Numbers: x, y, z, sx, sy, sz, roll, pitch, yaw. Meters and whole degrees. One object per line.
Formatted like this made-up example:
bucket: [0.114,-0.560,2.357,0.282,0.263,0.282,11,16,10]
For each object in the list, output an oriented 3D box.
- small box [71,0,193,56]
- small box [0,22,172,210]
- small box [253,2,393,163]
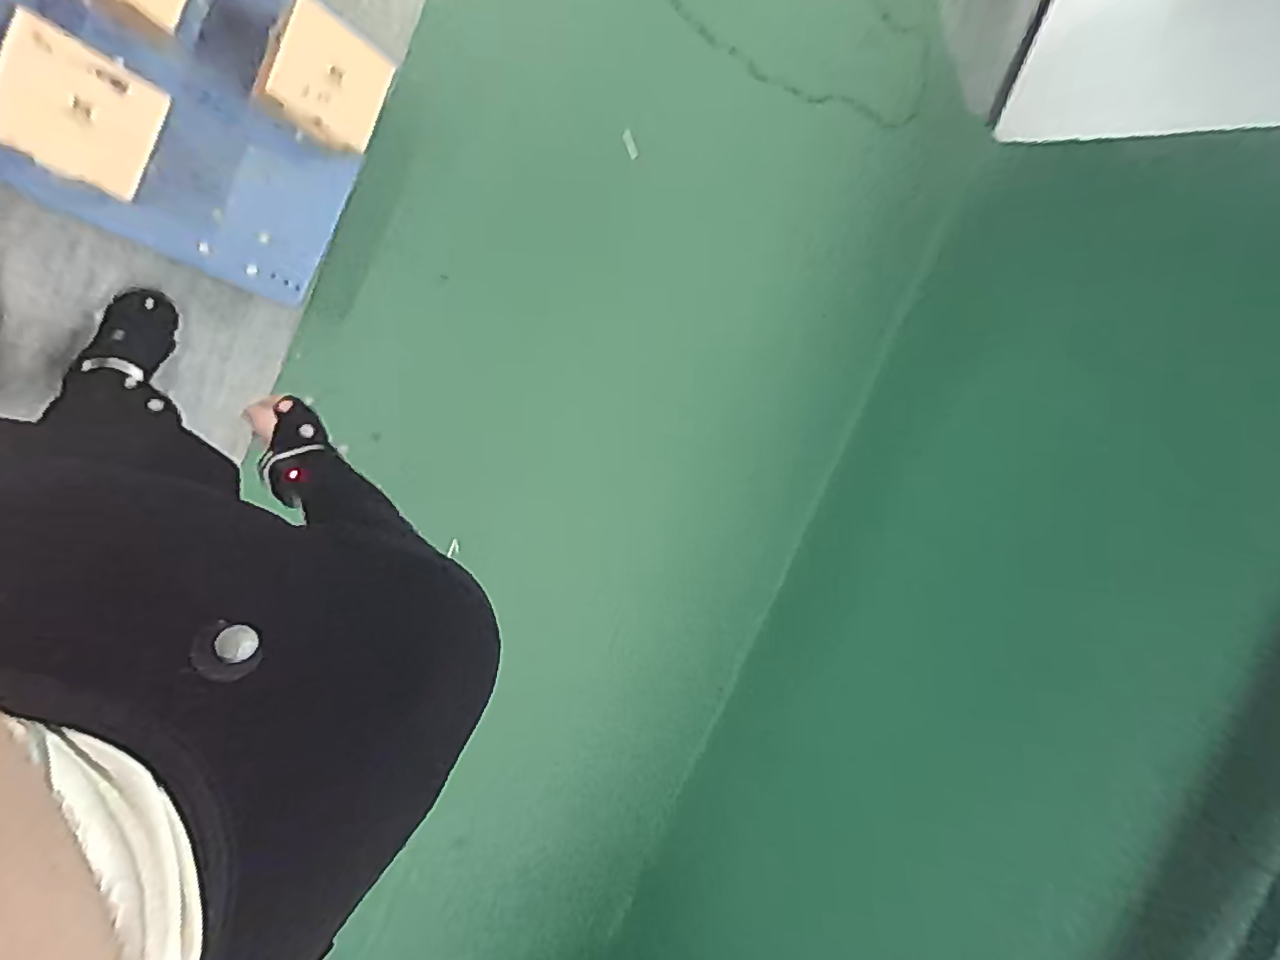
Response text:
small box: [-0.788,-0.801,0.824,0.168,0.176,0.179,21,95,-48]
small box: [-0.877,-0.553,0.851,0.168,0.176,0.179,22,93,-49]
small box: [-0.608,-0.739,1.029,0.168,0.176,0.179,20,95,-47]
